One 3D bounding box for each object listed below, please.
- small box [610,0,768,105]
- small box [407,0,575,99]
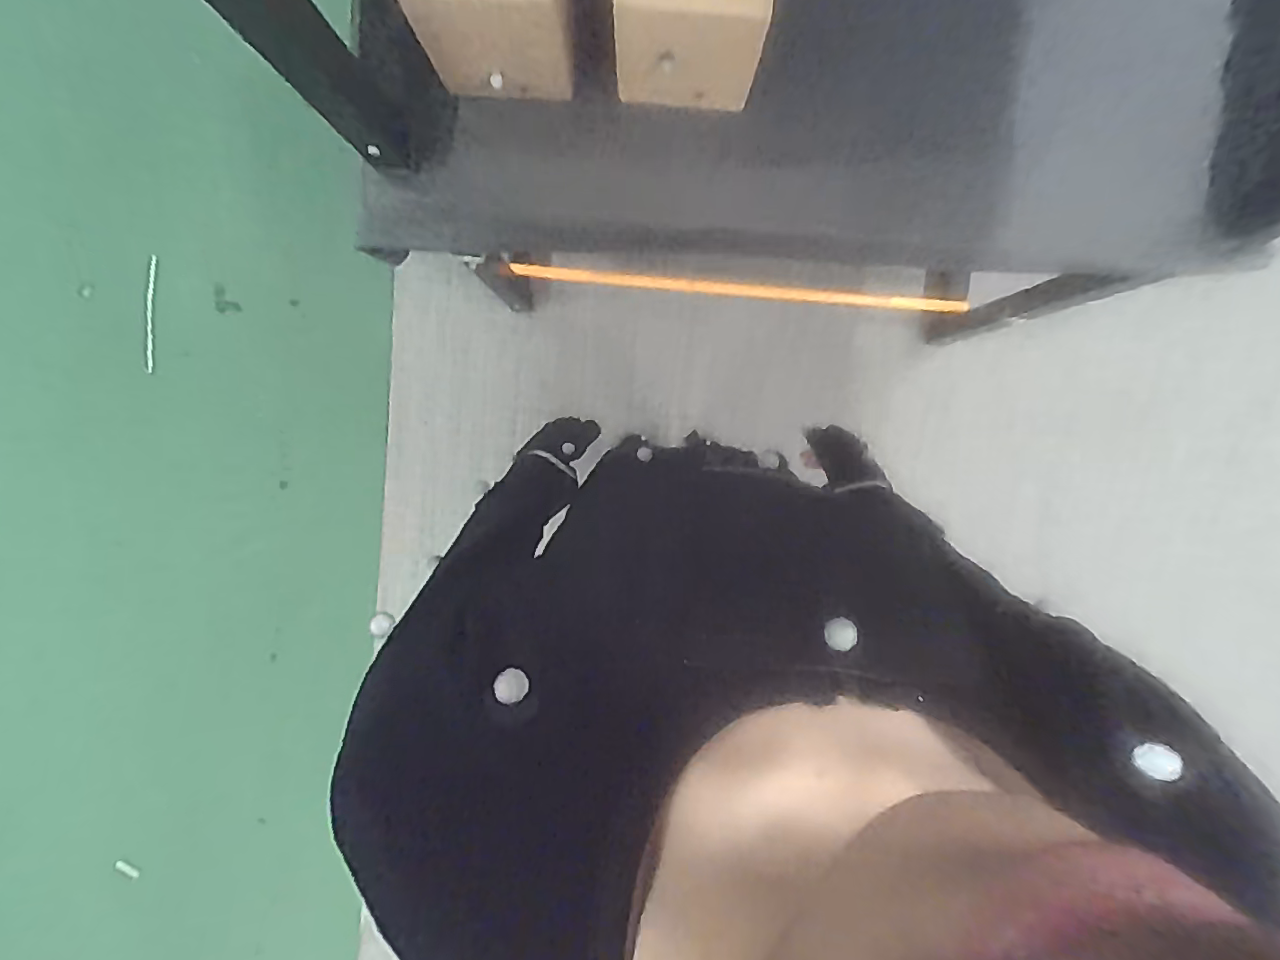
[{"bbox_3d":[0.059,-0.573,0.624,0.168,0.176,0.179,5,94,0],"label":"small box"},{"bbox_3d":[-0.168,-0.586,0.622,0.168,0.176,0.179,3,95,0],"label":"small box"}]
